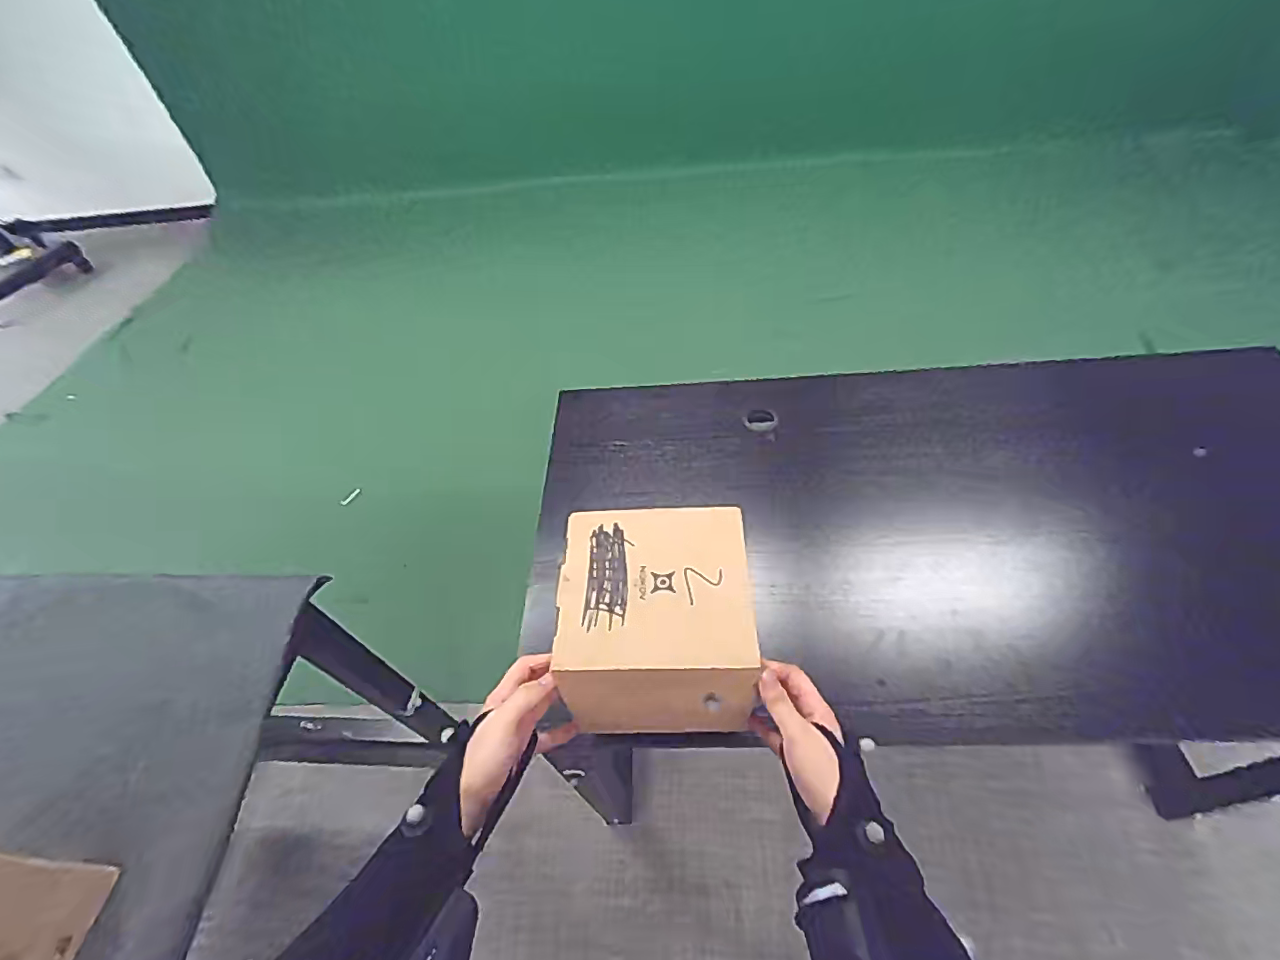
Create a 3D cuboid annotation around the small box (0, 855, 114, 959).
[{"bbox_3d":[-0.630,0.419,0.458,0.179,0.176,0.168,0,51,8],"label":"small box"}]
